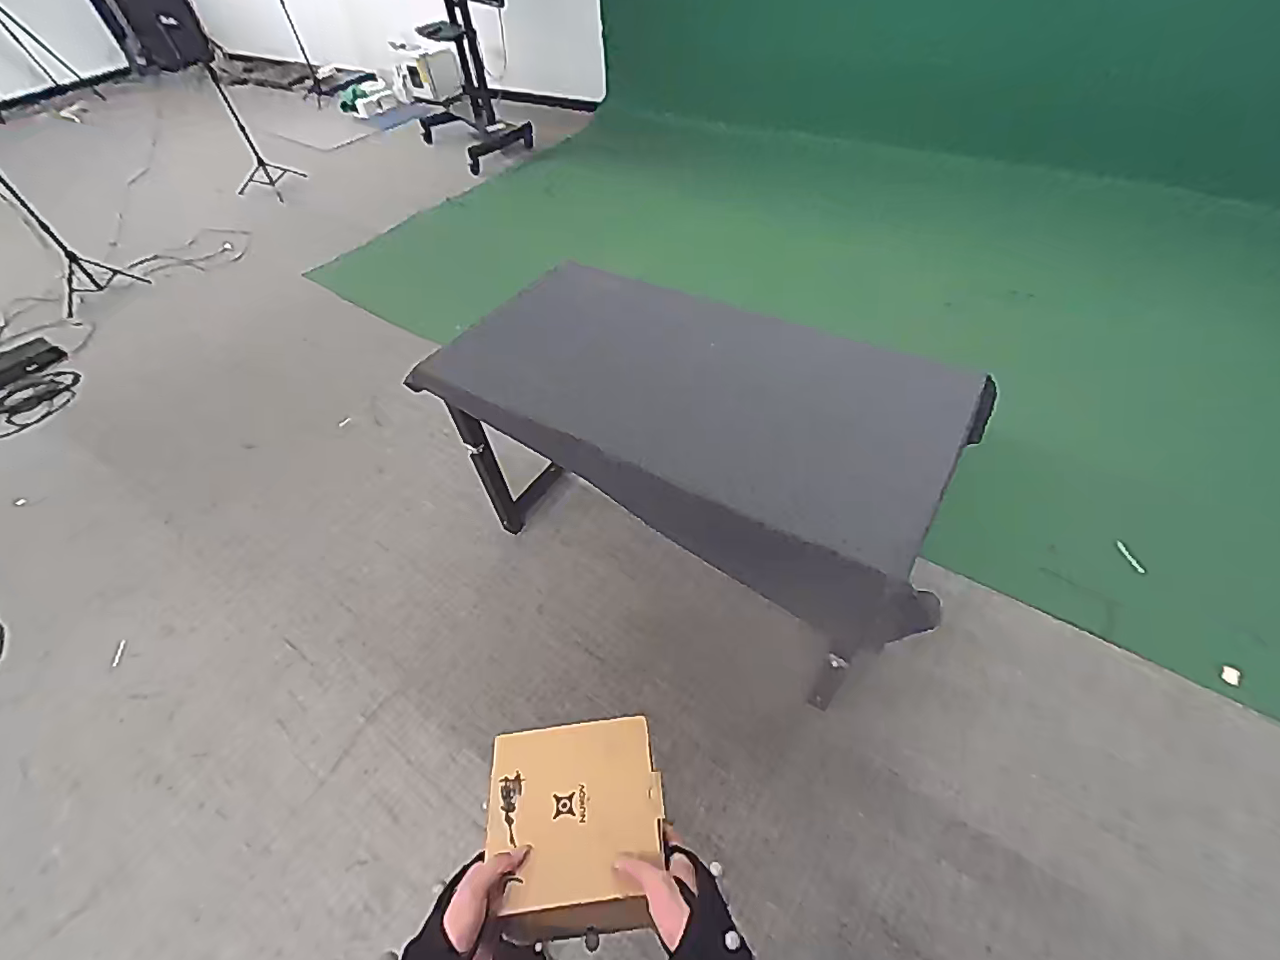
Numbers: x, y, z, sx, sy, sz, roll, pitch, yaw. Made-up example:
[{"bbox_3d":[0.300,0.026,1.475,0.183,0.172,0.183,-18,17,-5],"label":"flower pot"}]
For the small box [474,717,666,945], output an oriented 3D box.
[{"bbox_3d":[-0.067,0.388,0.600,0.179,0.176,0.168,-6,41,-2],"label":"small box"}]
